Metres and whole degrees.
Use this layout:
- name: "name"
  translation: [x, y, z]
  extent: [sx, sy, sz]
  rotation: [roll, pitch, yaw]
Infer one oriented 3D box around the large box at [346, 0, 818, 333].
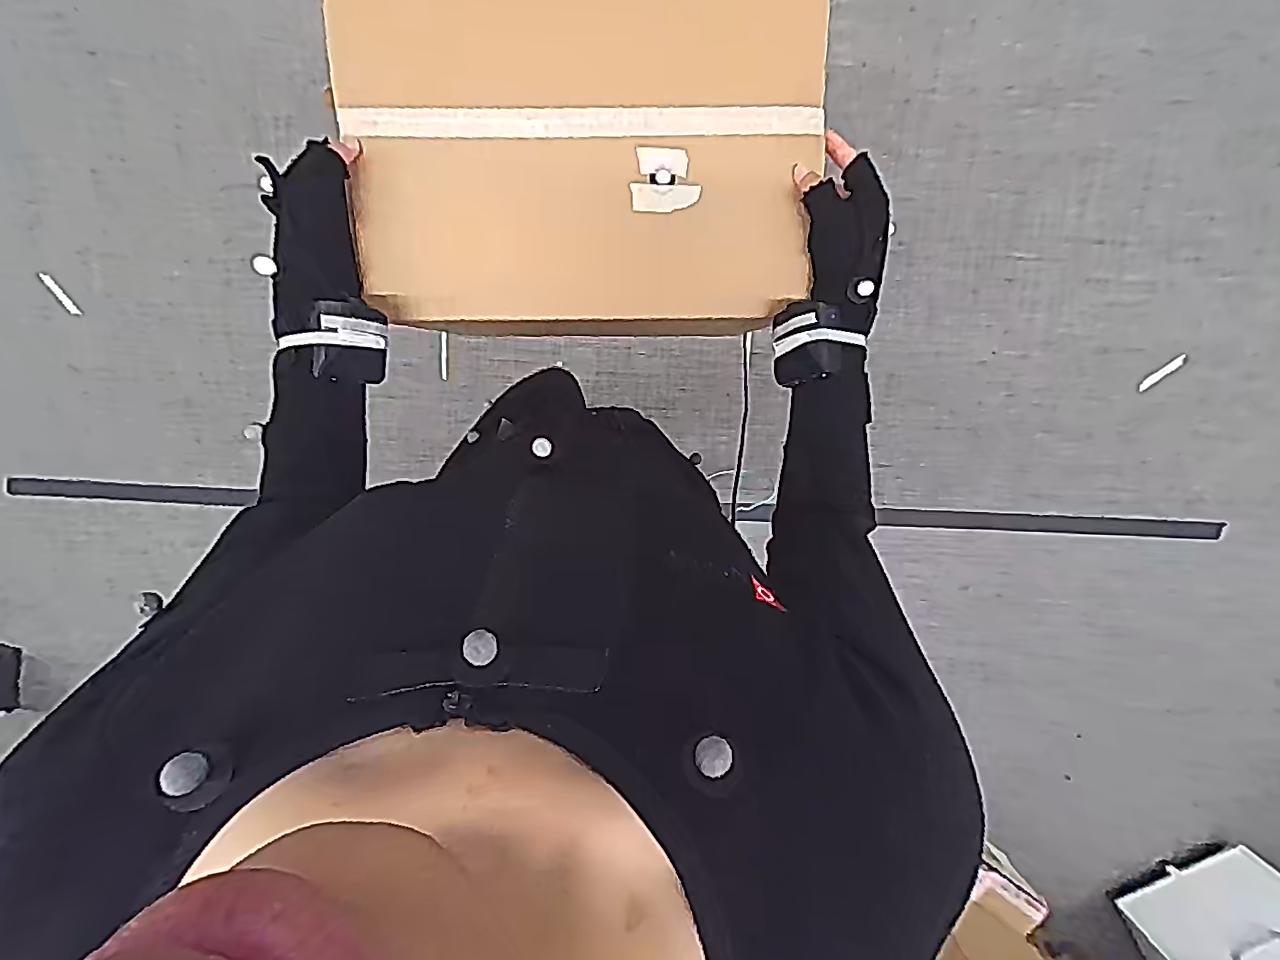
- name: "large box"
  translation: [-0.051, -0.341, 0.619]
  extent: [0.408, 0.320, 0.320]
  rotation: [-1, 103, -2]
